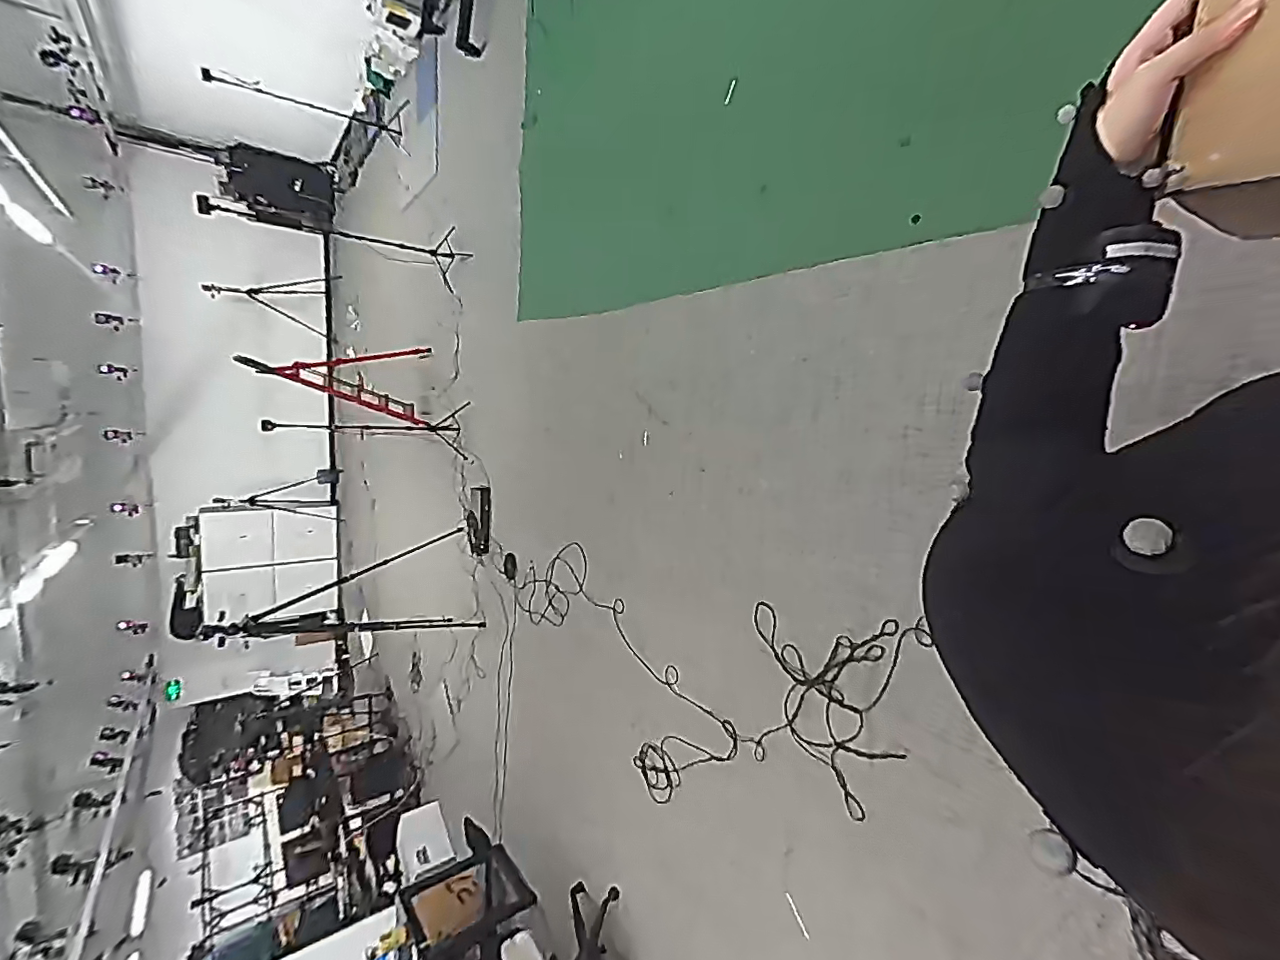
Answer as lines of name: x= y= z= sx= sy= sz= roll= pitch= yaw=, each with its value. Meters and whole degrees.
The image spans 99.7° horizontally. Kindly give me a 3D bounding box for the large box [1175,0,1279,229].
large box: x=0.626 y=-0.349 z=0.287 sx=0.408 sy=0.320 sz=0.320 roll=18 pitch=112 yaw=54
